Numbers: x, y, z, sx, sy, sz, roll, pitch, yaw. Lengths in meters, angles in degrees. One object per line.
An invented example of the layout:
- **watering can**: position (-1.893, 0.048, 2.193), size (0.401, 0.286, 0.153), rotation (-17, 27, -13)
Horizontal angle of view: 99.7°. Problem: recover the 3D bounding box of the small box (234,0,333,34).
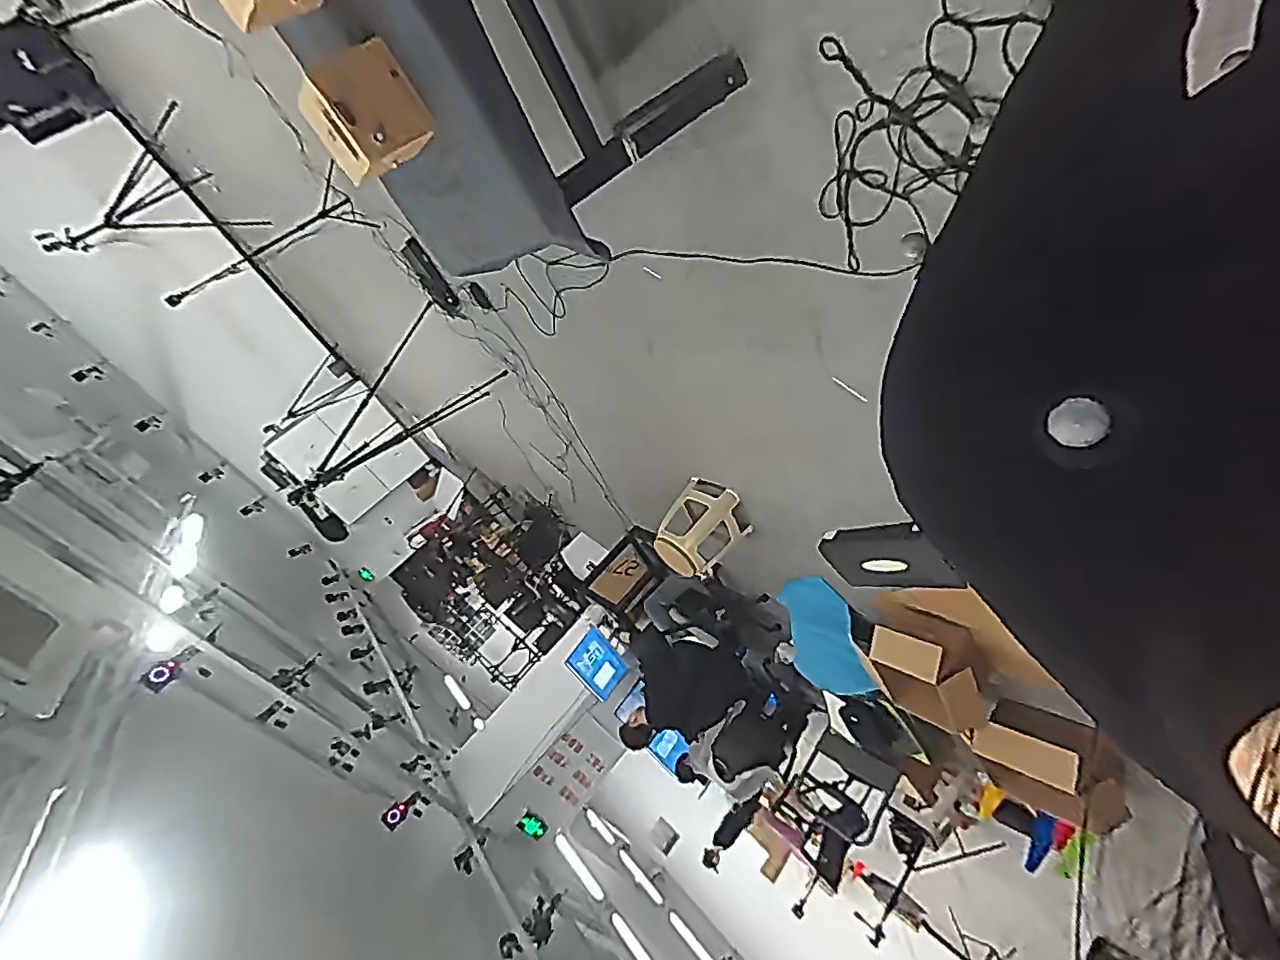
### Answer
- **small box**: position (-0.659, -0.945, 0.957), size (0.179, 0.176, 0.168), rotation (22, 148, 48)
